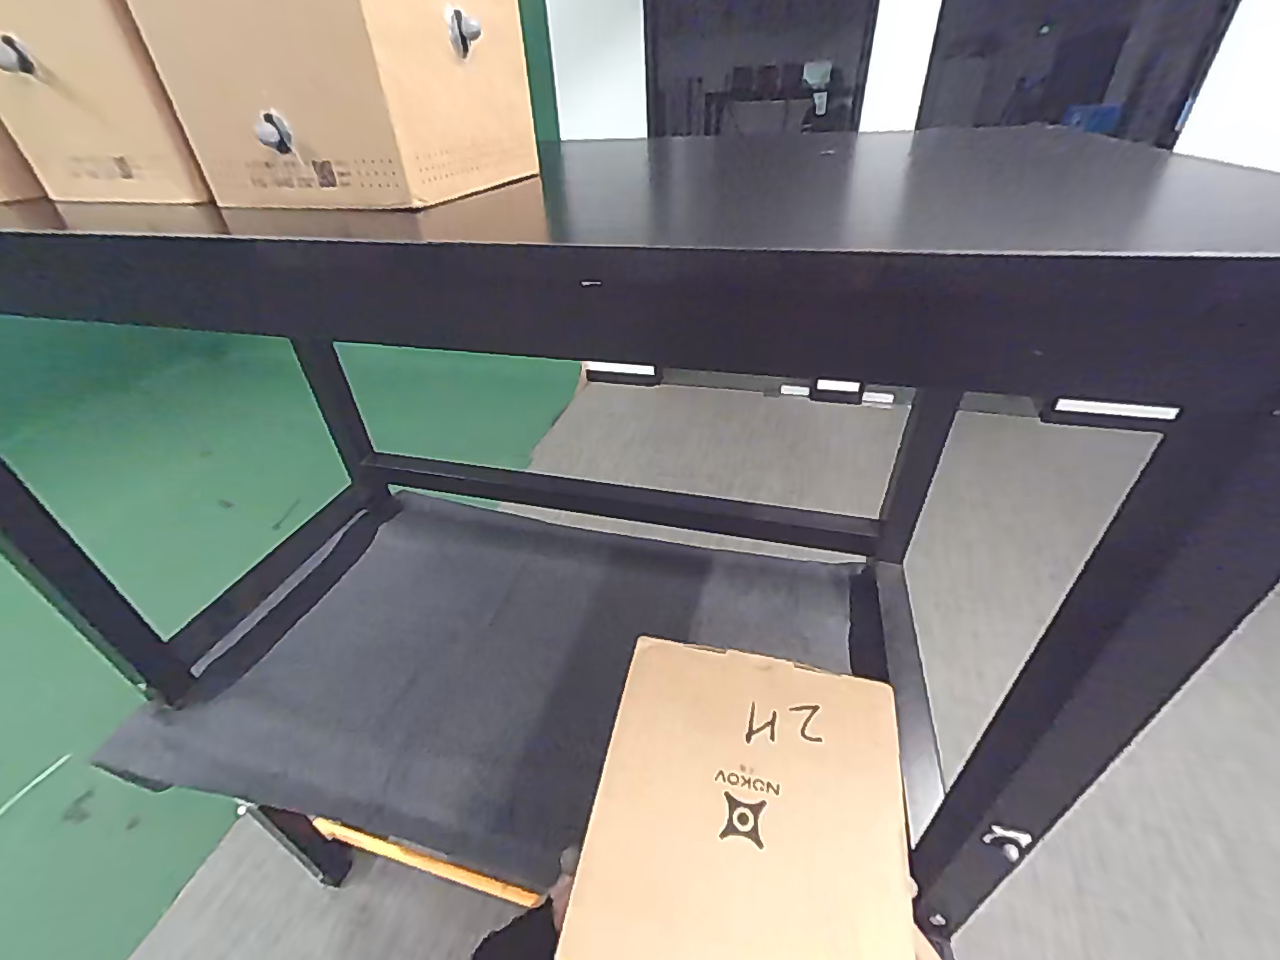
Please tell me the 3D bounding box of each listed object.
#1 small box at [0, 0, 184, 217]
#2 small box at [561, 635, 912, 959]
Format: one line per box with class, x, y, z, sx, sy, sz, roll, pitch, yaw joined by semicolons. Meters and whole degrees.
small box;-0.564;-0.345;0.481;0.168;0.176;0.179;9;38;15
small box;0.065;0.233;0.356;0.168;0.176;0.179;8;47;12
